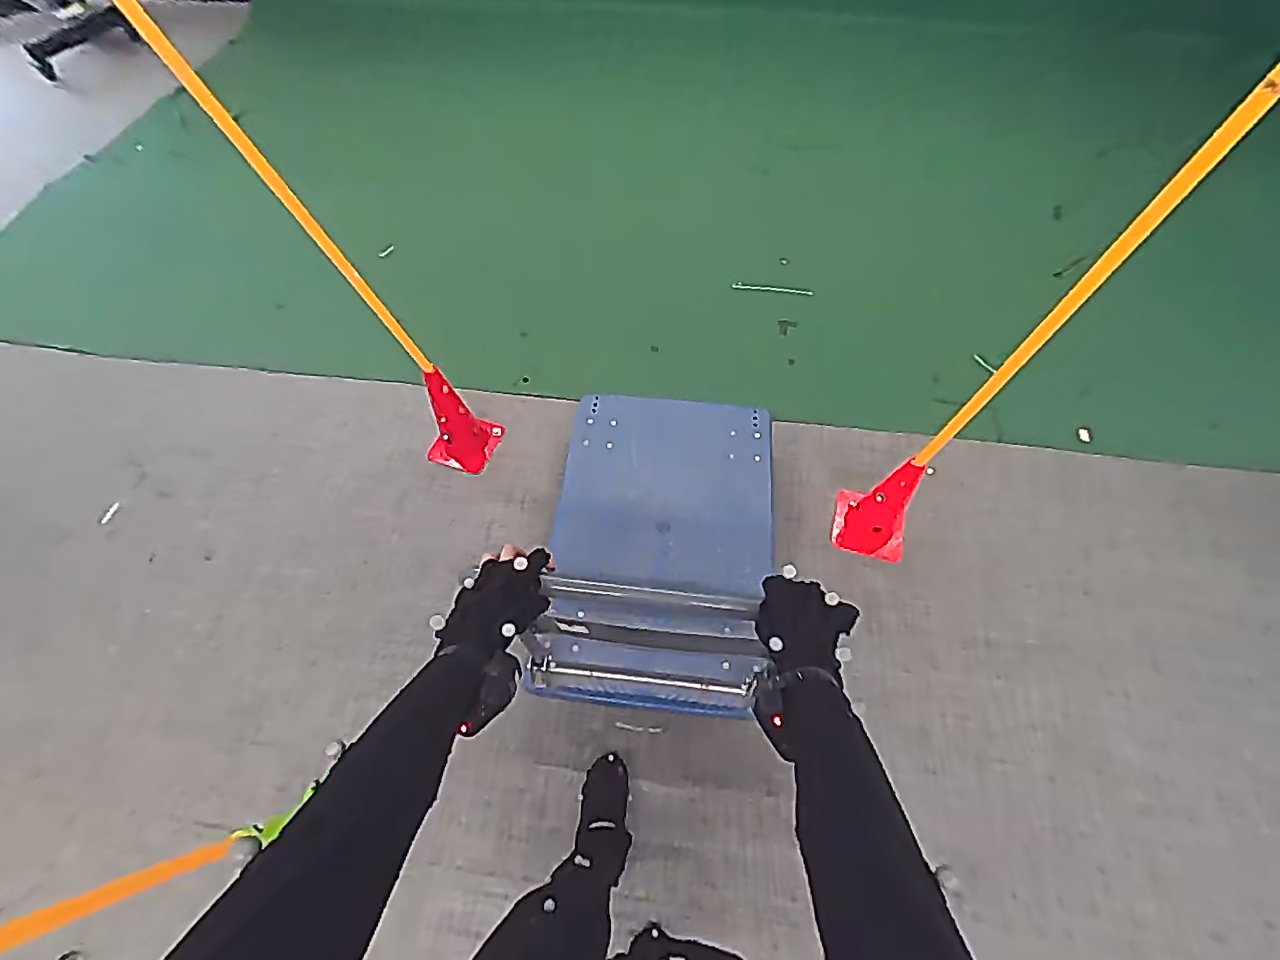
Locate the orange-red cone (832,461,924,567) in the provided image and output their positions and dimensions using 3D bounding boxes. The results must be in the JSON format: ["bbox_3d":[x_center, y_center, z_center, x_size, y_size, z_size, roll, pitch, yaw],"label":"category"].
[{"bbox_3d":[0.679,0.062,1.466,0.198,0.360,0.199,16,61,11],"label":"orange-red cone"}]
